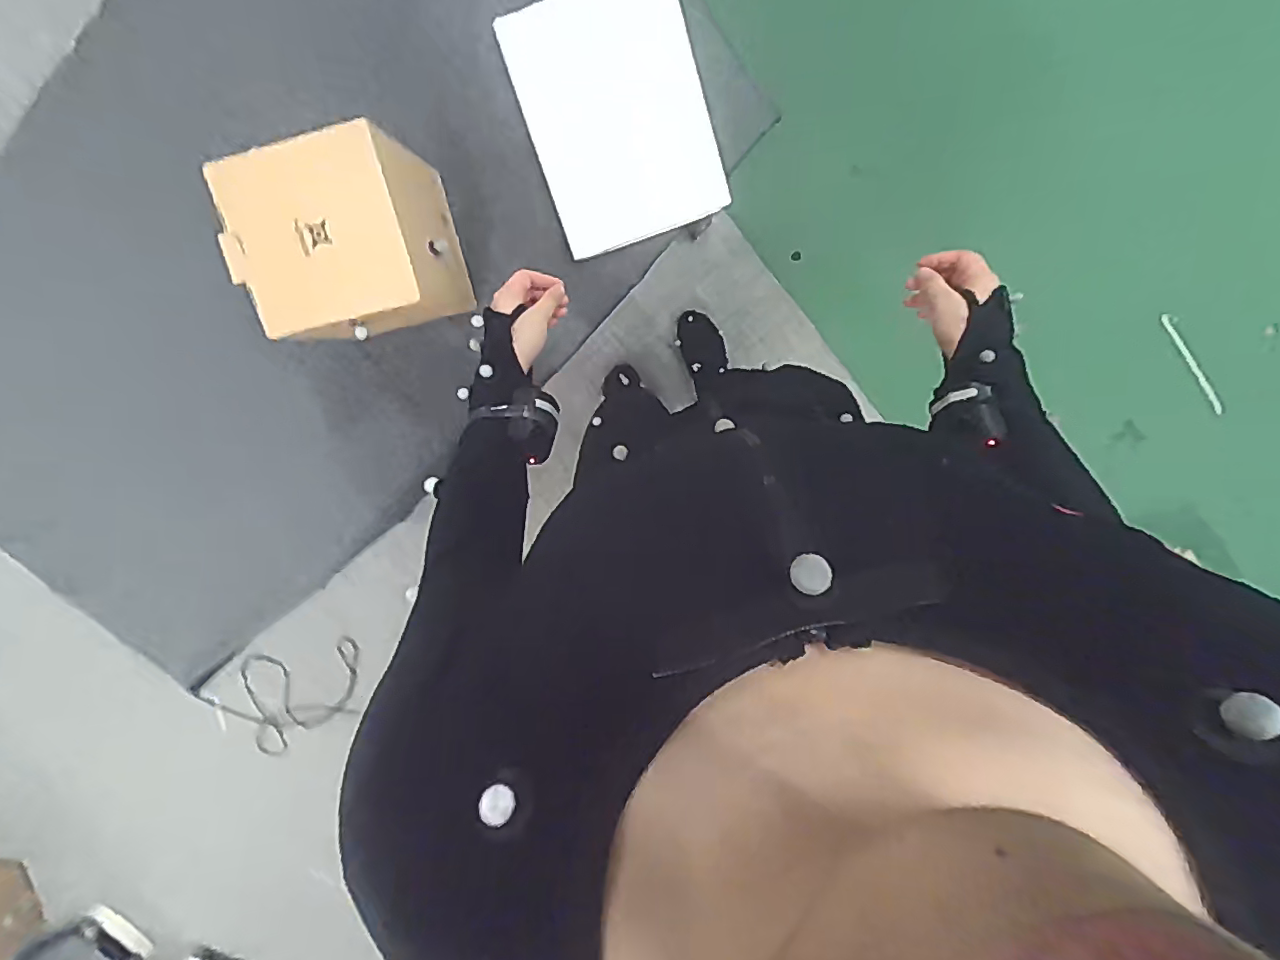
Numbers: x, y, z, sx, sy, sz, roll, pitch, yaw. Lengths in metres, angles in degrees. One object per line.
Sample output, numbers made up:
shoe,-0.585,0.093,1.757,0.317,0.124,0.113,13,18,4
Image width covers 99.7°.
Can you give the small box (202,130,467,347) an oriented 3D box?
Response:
small box,-0.312,-0.252,0.602,0.179,0.176,0.168,-12,105,7
